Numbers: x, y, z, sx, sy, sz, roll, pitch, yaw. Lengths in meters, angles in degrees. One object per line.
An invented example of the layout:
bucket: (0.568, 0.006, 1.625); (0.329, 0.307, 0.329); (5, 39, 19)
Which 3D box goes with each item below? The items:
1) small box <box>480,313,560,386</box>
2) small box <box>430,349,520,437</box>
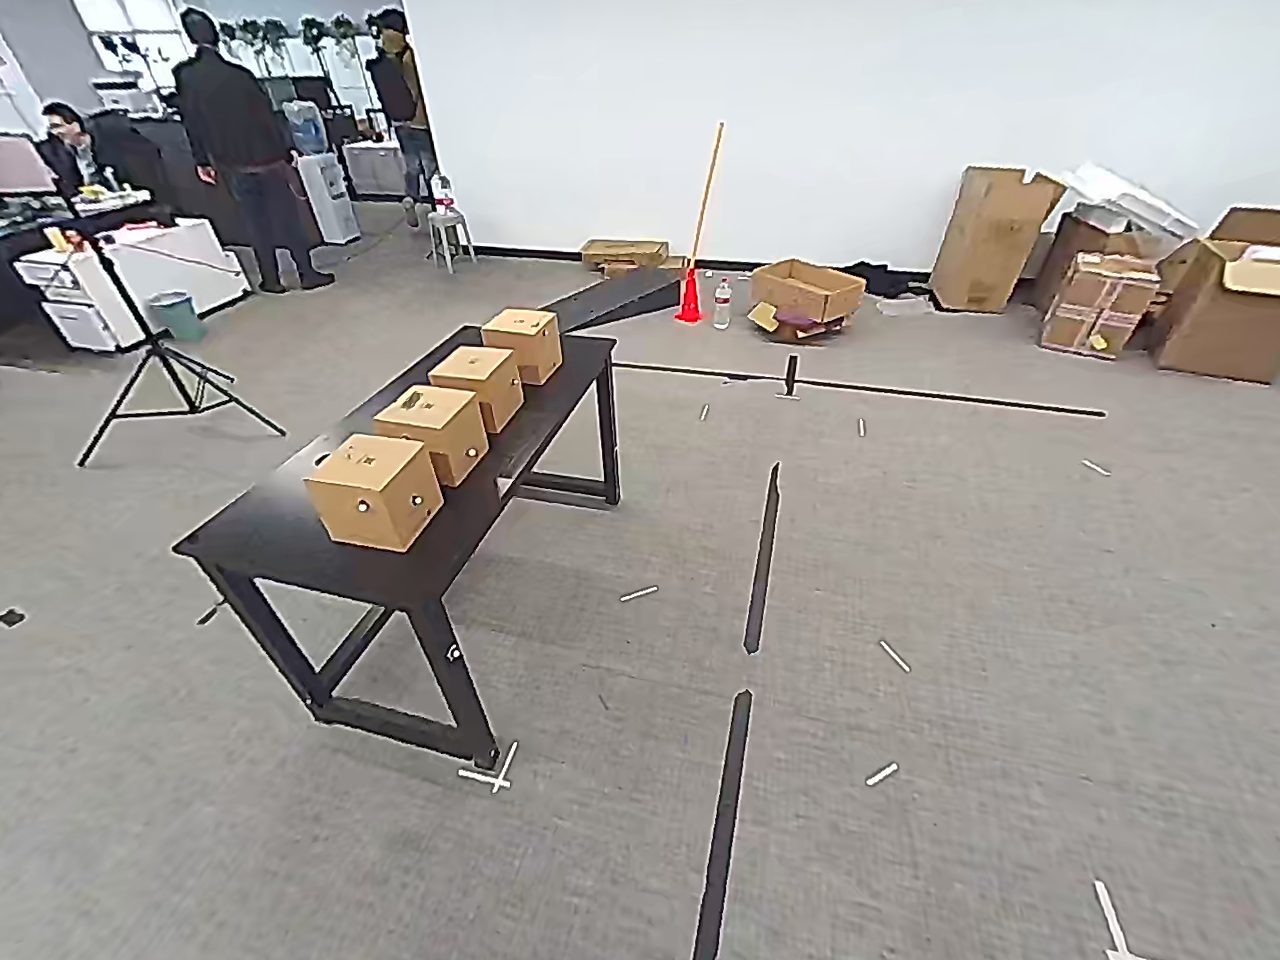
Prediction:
small box: (-0.367, -0.407, 1.688); (0.179, 0.176, 0.168); (8, 40, 14)
small box: (-0.443, -0.240, 1.486); (0.168, 0.176, 0.179); (6, 40, 12)
